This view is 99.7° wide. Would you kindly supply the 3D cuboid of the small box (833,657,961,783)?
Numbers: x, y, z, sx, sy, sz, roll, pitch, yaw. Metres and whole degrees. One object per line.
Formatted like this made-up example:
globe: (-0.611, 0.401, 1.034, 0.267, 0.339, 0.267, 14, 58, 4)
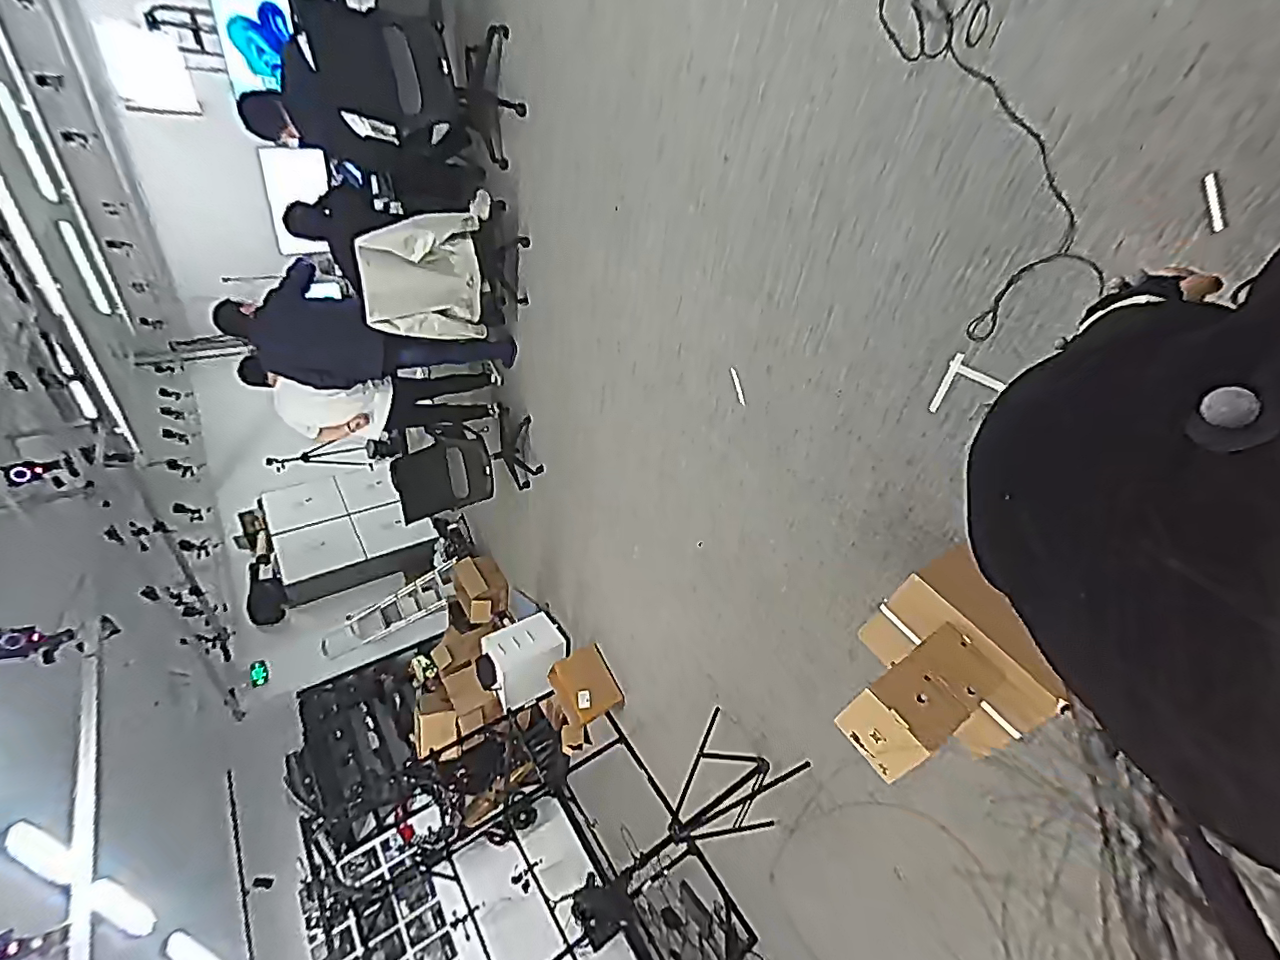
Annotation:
small box: (0.579, 0.529, 1.211, 0.168, 0.176, 0.179, 49, 141, 32)
